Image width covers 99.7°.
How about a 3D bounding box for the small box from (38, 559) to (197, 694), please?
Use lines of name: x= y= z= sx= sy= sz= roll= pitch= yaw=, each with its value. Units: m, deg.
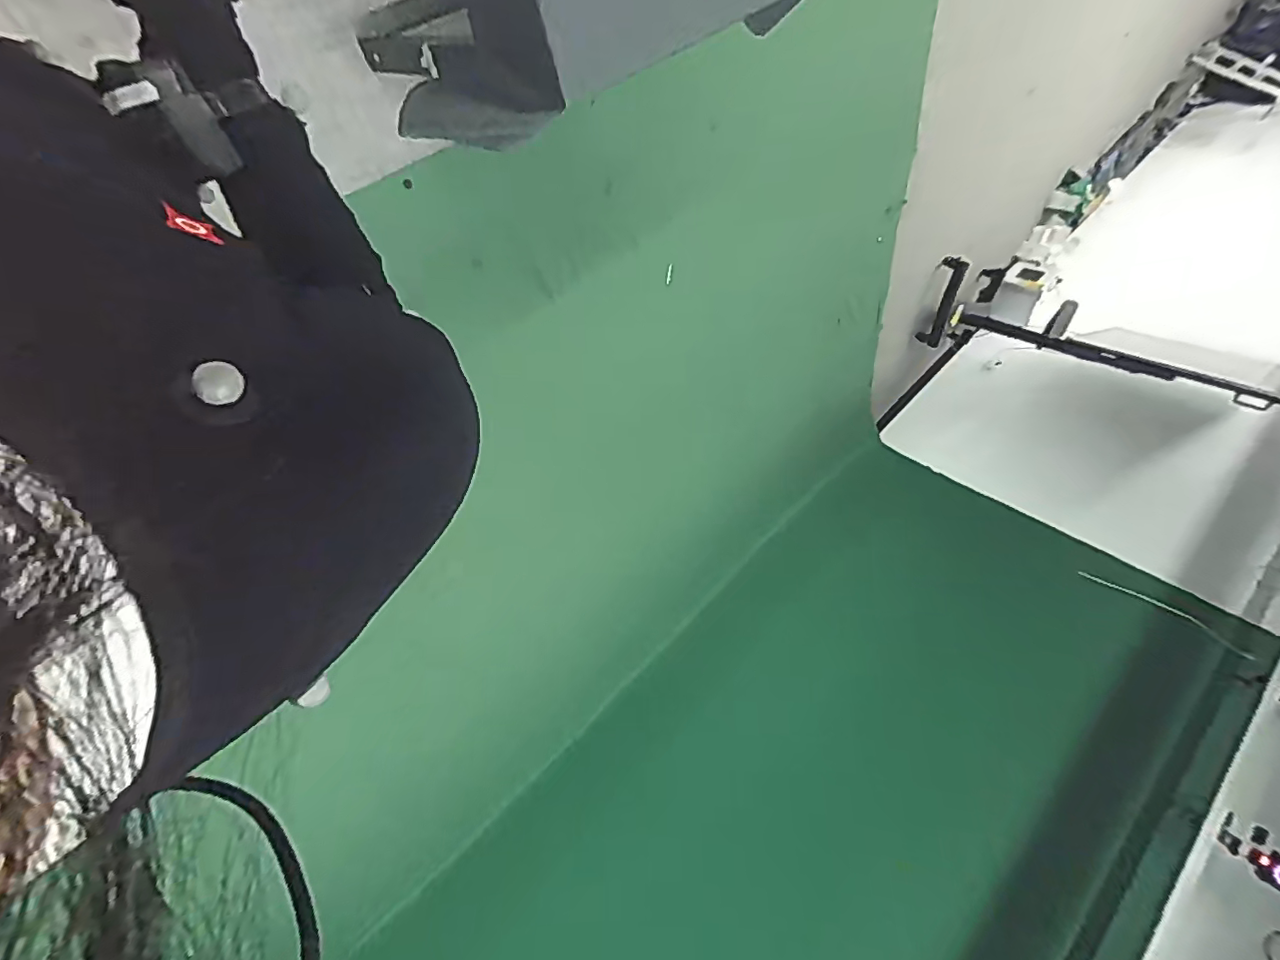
small box: x=-1.095 y=0.305 z=1.140 sx=0.179 sy=0.176 sz=0.168 roll=-40 pitch=143 yaw=-19
